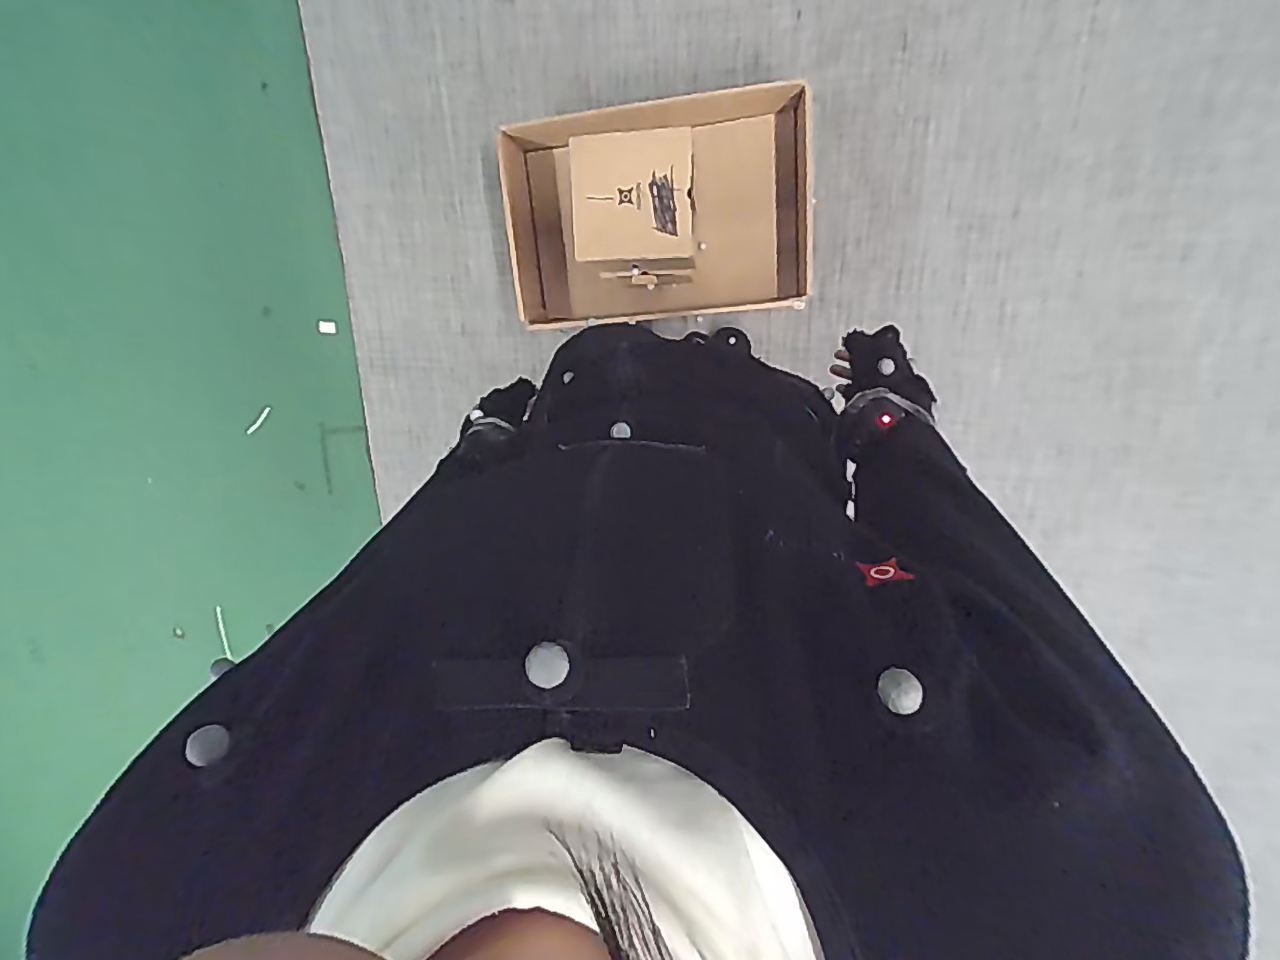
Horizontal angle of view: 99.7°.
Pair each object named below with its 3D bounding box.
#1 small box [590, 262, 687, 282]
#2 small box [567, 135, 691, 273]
[{"bbox_3d":[0.002,-0.462,1.001,0.168,0.176,0.179,1,107,7],"label":"small box"},{"bbox_3d":[-0.009,-0.426,0.858,0.179,0.176,0.168,2,105,8],"label":"small box"}]
